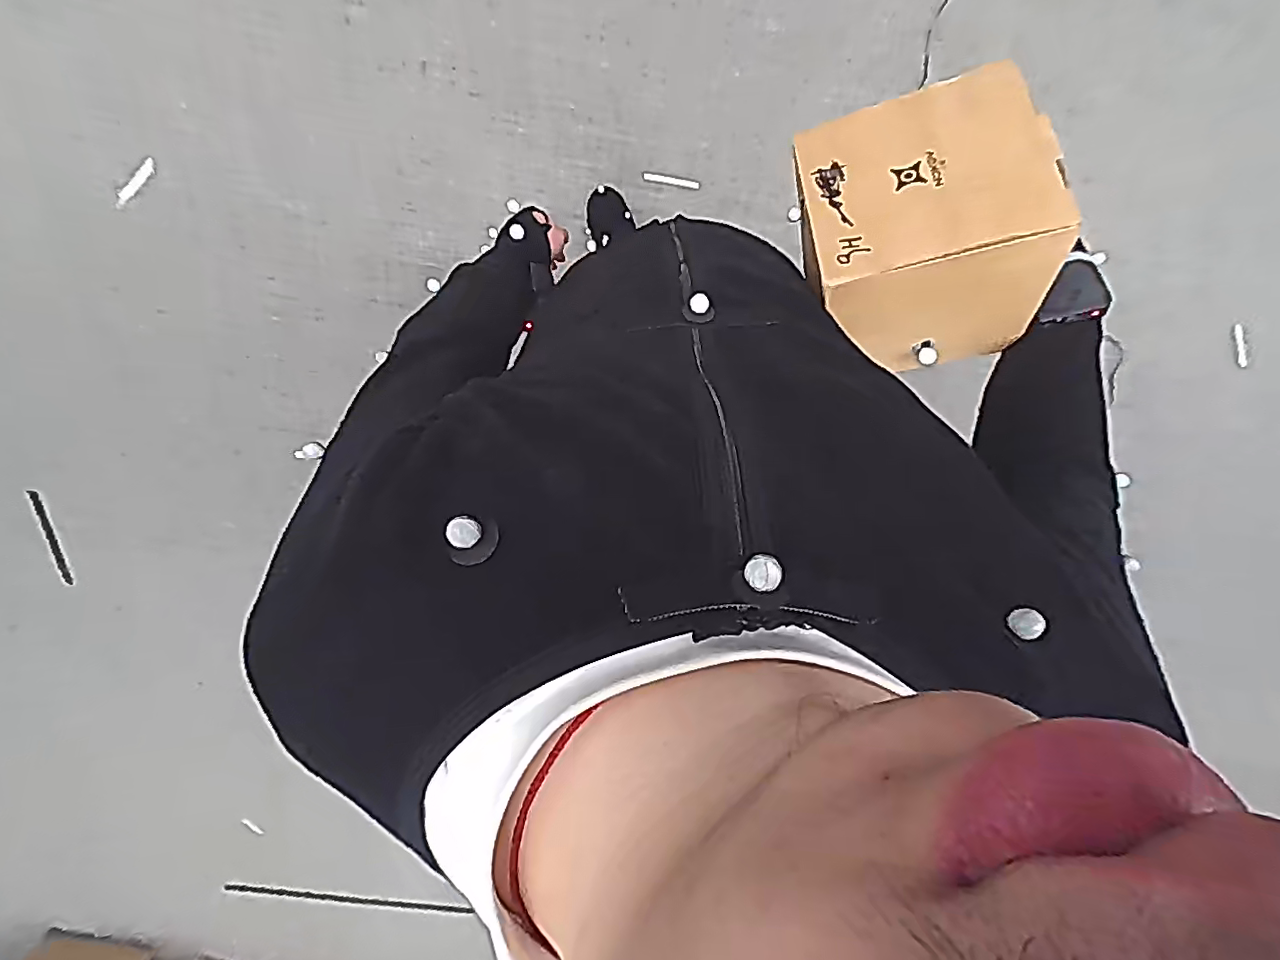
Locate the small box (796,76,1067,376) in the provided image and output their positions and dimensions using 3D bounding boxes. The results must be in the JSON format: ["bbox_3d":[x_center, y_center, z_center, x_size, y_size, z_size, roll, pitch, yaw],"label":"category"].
[{"bbox_3d":[0.251,-0.221,0.515,0.179,0.168,0.176,-9,159,16],"label":"small box"}]
